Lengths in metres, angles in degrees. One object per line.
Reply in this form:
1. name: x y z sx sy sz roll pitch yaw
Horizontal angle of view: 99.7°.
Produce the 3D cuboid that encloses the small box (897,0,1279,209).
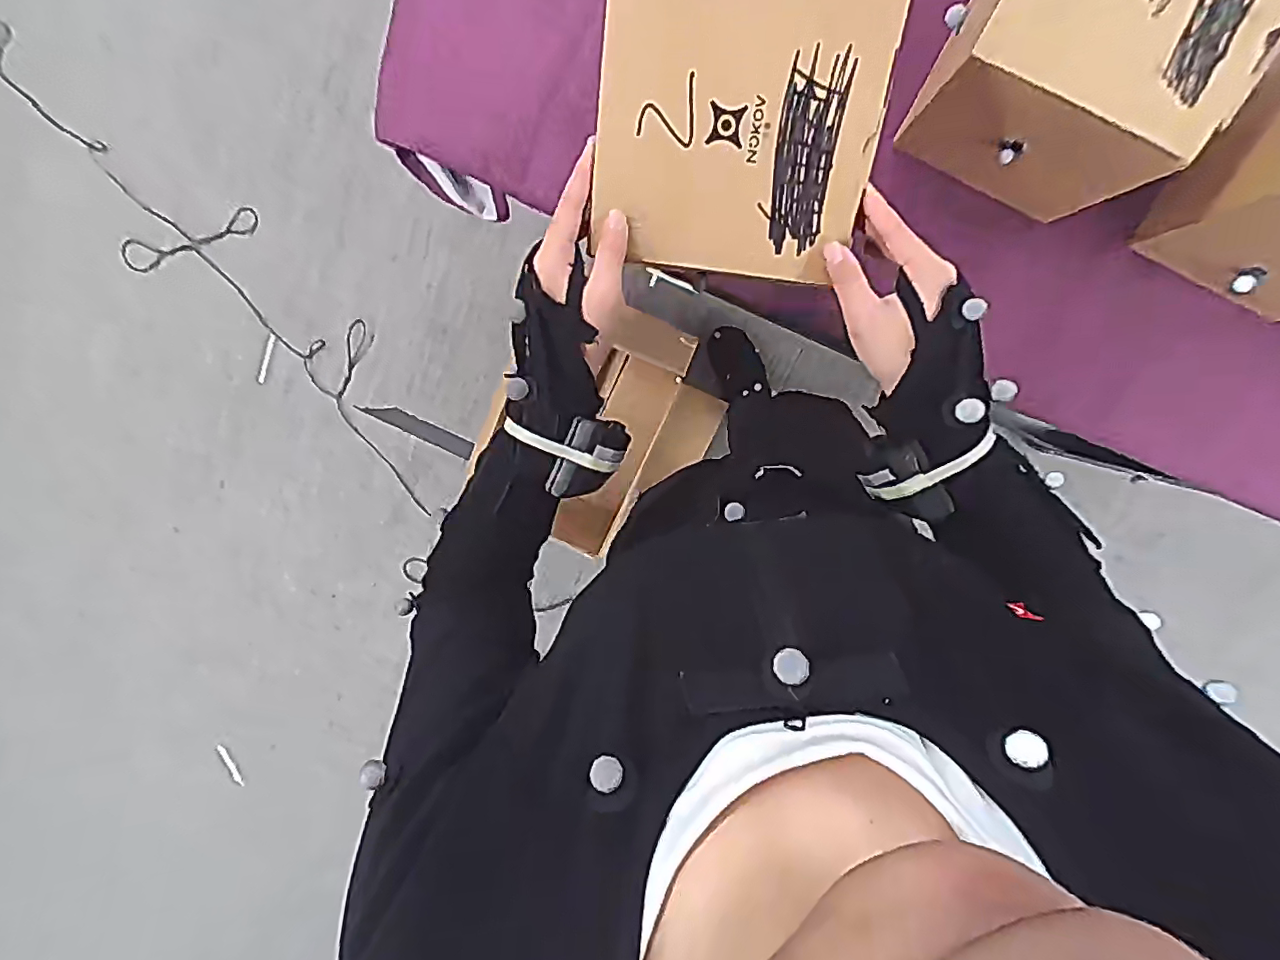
1. small box: 0.350 -0.346 0.437 0.179 0.176 0.168 27 104 2
